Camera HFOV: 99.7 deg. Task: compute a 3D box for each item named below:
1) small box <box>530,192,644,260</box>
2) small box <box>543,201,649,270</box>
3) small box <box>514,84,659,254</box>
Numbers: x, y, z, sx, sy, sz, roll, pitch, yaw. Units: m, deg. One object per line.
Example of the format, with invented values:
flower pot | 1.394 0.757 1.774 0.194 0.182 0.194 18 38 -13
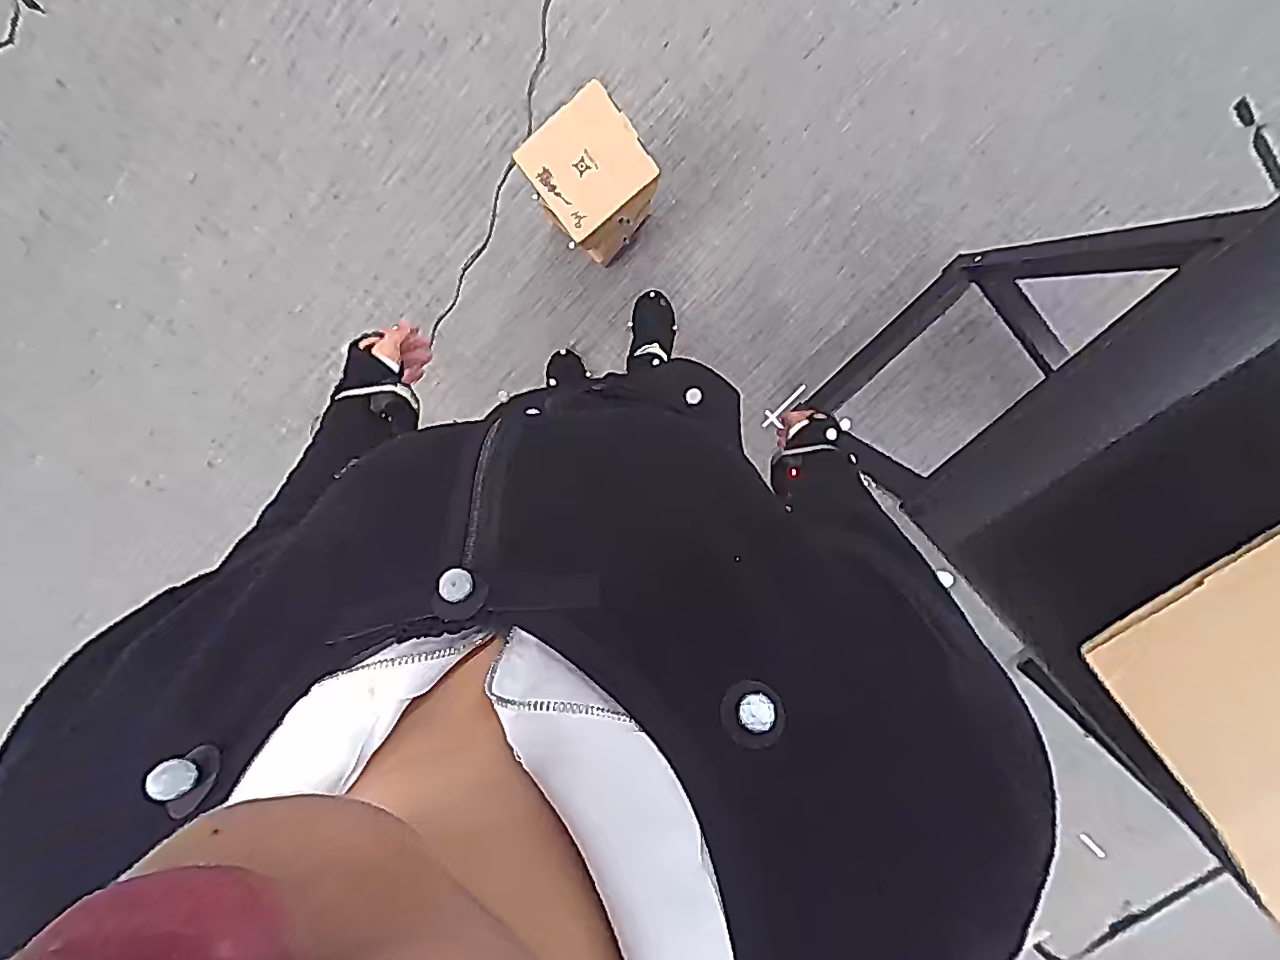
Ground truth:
small box | -0.093 -0.568 1.087 0.168 0.176 0.179 37 102 -12
small box | -0.098 -0.610 1.243 0.168 0.176 0.179 40 103 -12
small box | -0.089 -0.518 0.931 0.179 0.176 0.168 -37 105 9
